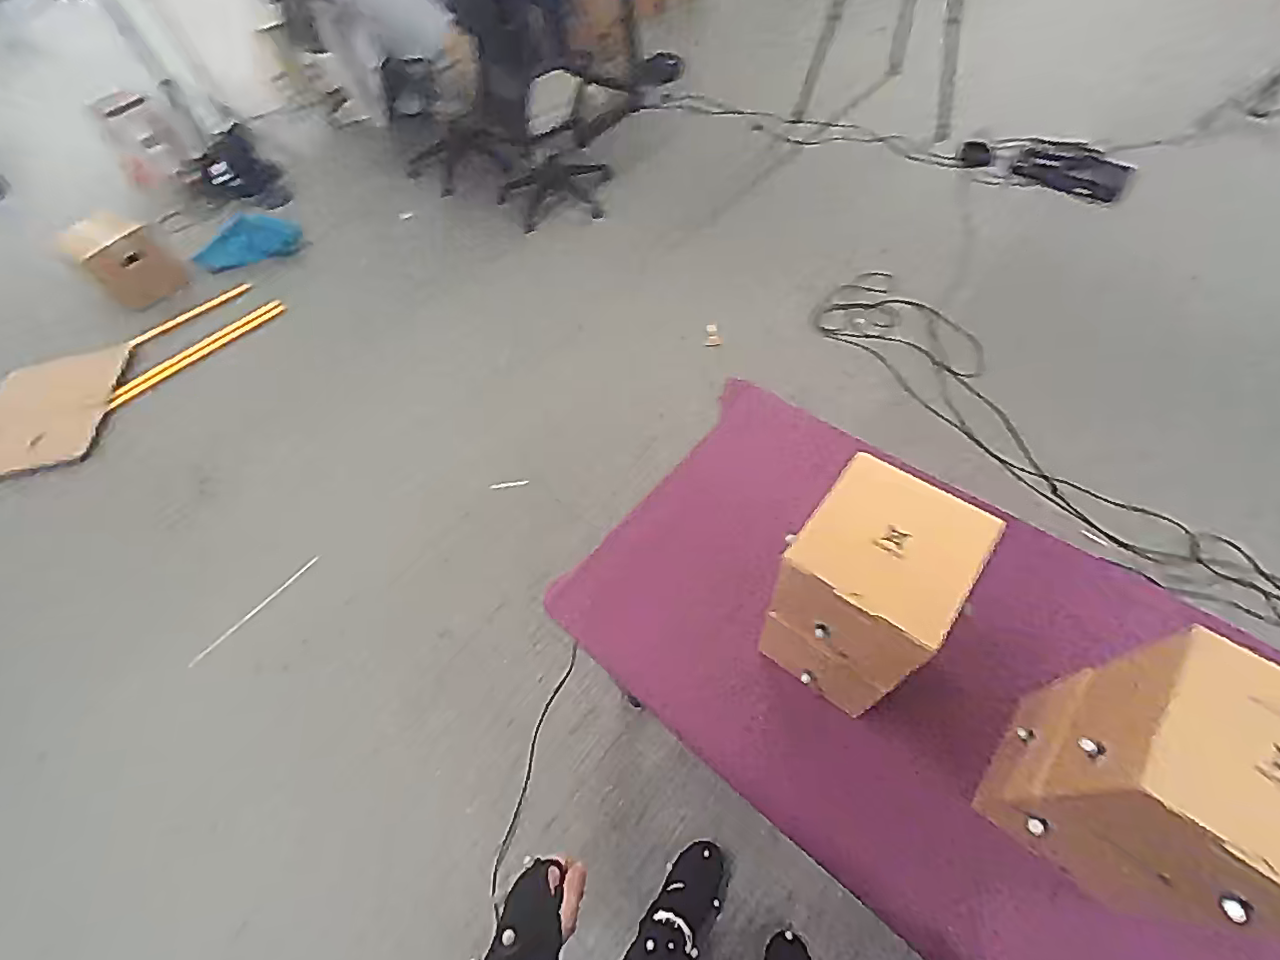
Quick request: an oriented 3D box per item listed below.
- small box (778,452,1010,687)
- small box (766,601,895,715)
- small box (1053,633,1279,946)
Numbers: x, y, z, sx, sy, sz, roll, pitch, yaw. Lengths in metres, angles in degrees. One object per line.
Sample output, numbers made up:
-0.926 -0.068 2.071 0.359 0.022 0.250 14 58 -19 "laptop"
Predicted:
0.278 0.108 0.630 0.168 0.176 0.179 33 67 24 "small box"
0.293 0.199 0.764 0.168 0.176 0.179 33 67 25 "small box"
0.521 0.278 0.486 0.168 0.176 0.179 35 67 25 "small box"
